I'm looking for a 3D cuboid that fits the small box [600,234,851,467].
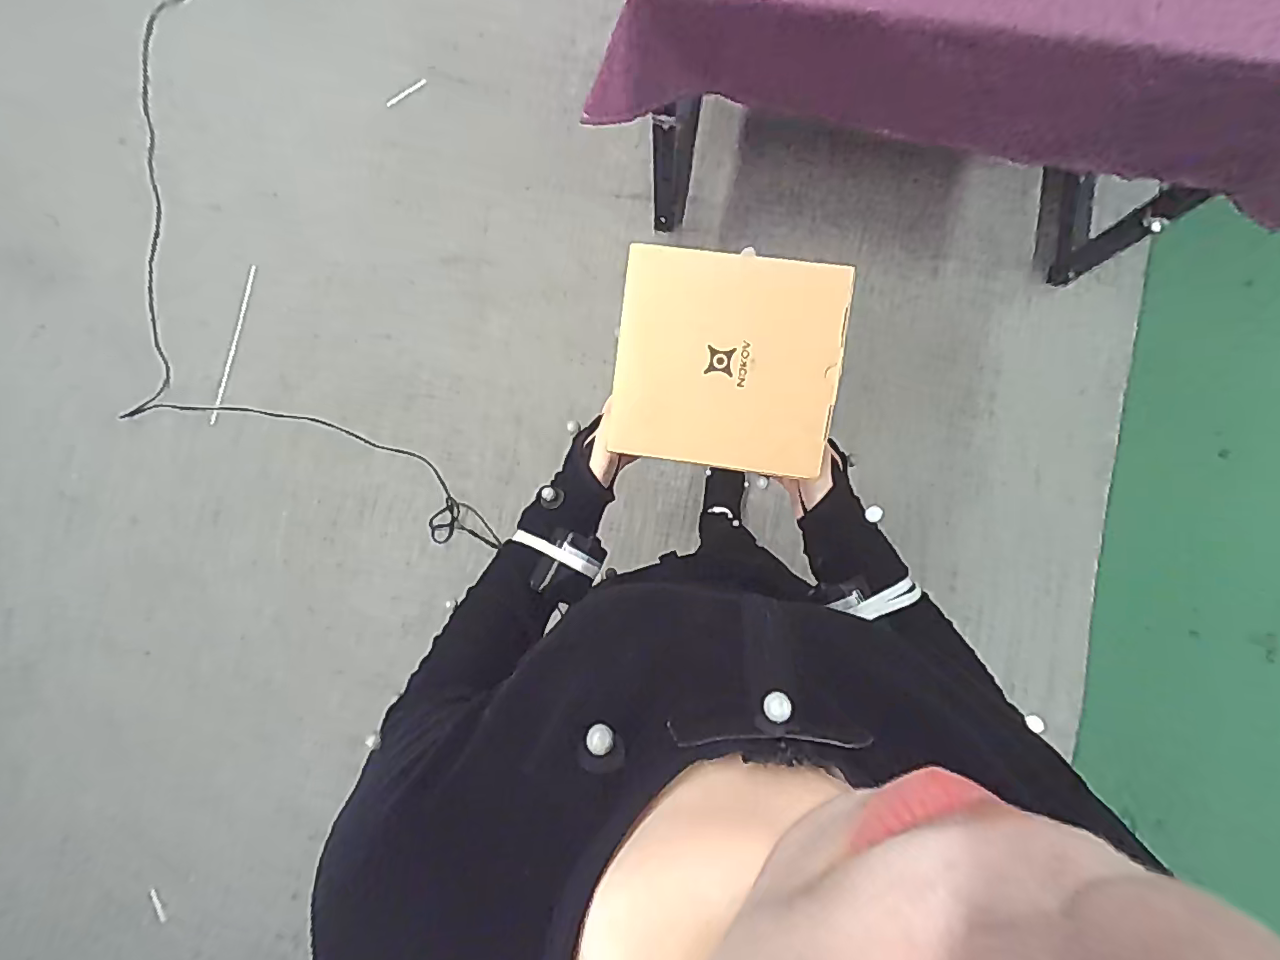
[{"bbox_3d":[0.071,-0.108,0.501,0.179,0.176,0.168,8,96,4],"label":"small box"}]
